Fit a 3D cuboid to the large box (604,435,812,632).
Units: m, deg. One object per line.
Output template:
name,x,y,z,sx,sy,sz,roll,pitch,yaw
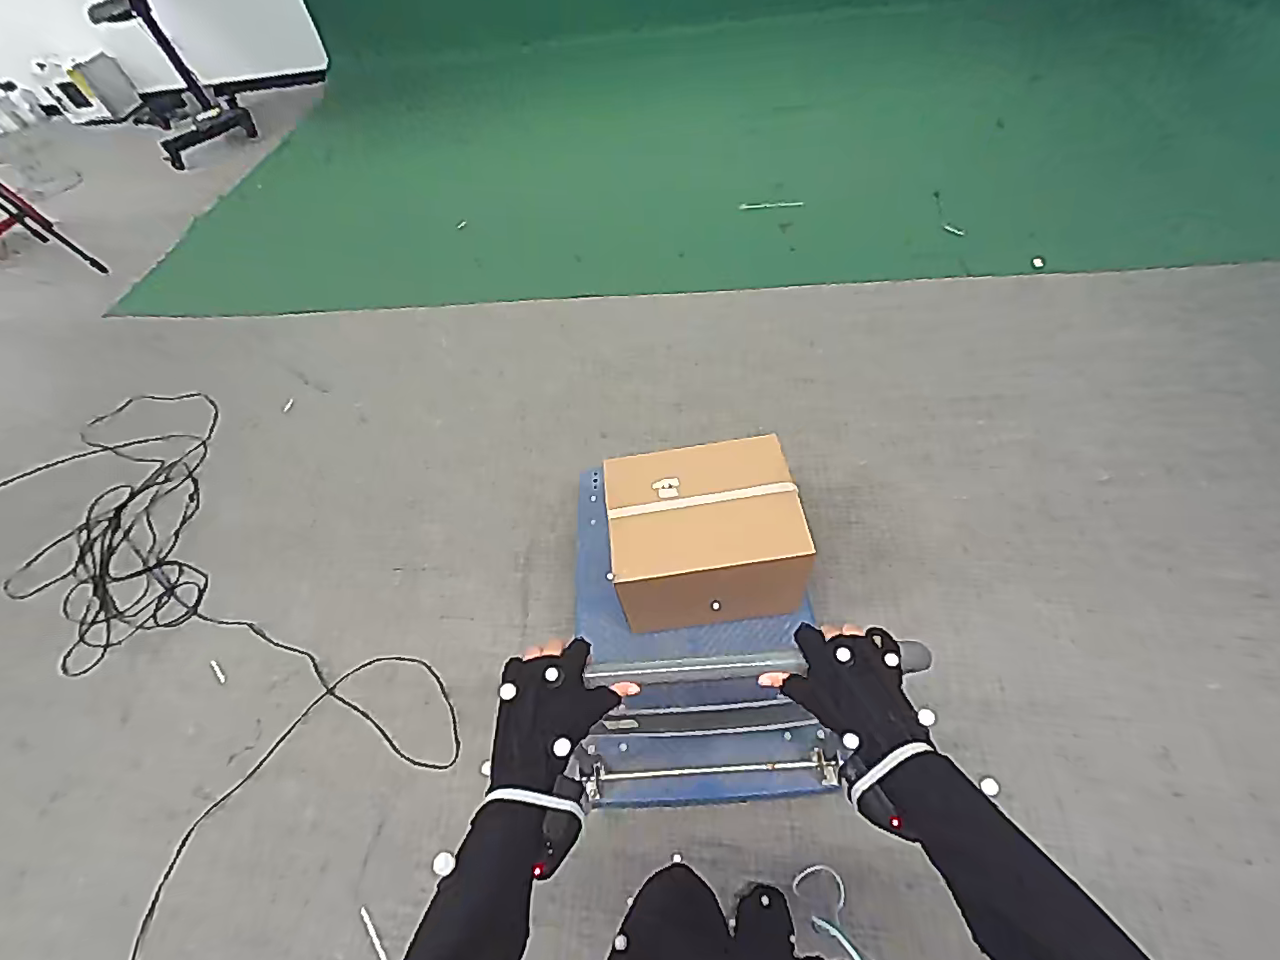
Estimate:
large box,0.151,0.137,1.290,0.408,0.320,0.320,-11,54,2
